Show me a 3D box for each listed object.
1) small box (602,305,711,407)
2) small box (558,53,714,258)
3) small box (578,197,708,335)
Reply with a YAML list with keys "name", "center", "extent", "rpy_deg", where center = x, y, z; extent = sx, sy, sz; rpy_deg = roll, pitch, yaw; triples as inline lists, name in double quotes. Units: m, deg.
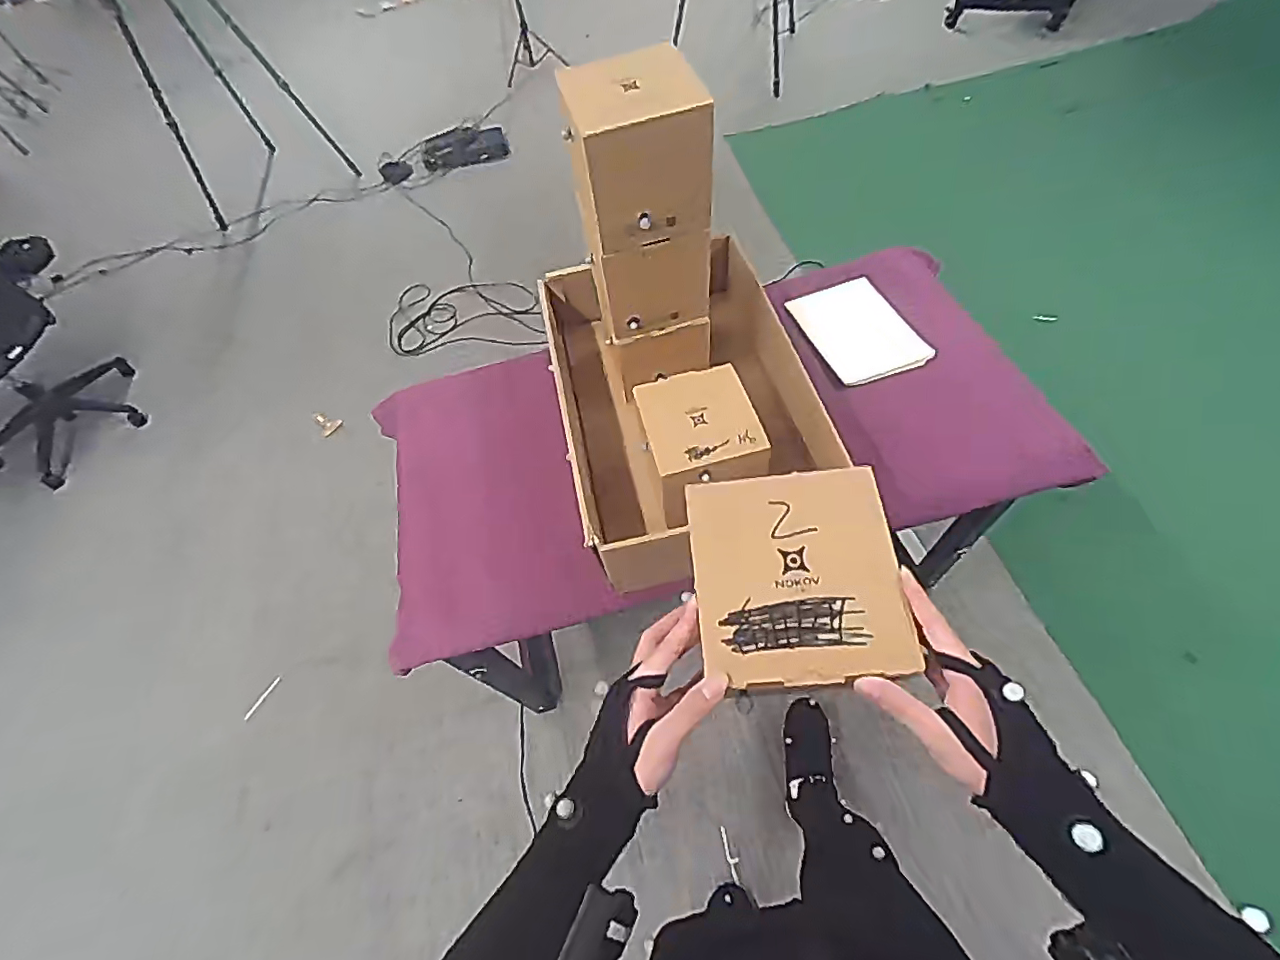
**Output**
- name: "small box"
  center: [0.027, -0.269, 1.023]
  extent: [0.168, 0.176, 0.179]
  rpy_deg: [-16, 59, -3]
- name: "small box"
  center: [-0.005, -0.443, 0.748]
  extent: [0.168, 0.176, 0.179]
  rpy_deg: [-16, 60, -3]
- name: "small box"
  center: [0.009, -0.359, 0.887]
  extent: [0.168, 0.176, 0.179]
  rpy_deg: [-16, 58, -4]
